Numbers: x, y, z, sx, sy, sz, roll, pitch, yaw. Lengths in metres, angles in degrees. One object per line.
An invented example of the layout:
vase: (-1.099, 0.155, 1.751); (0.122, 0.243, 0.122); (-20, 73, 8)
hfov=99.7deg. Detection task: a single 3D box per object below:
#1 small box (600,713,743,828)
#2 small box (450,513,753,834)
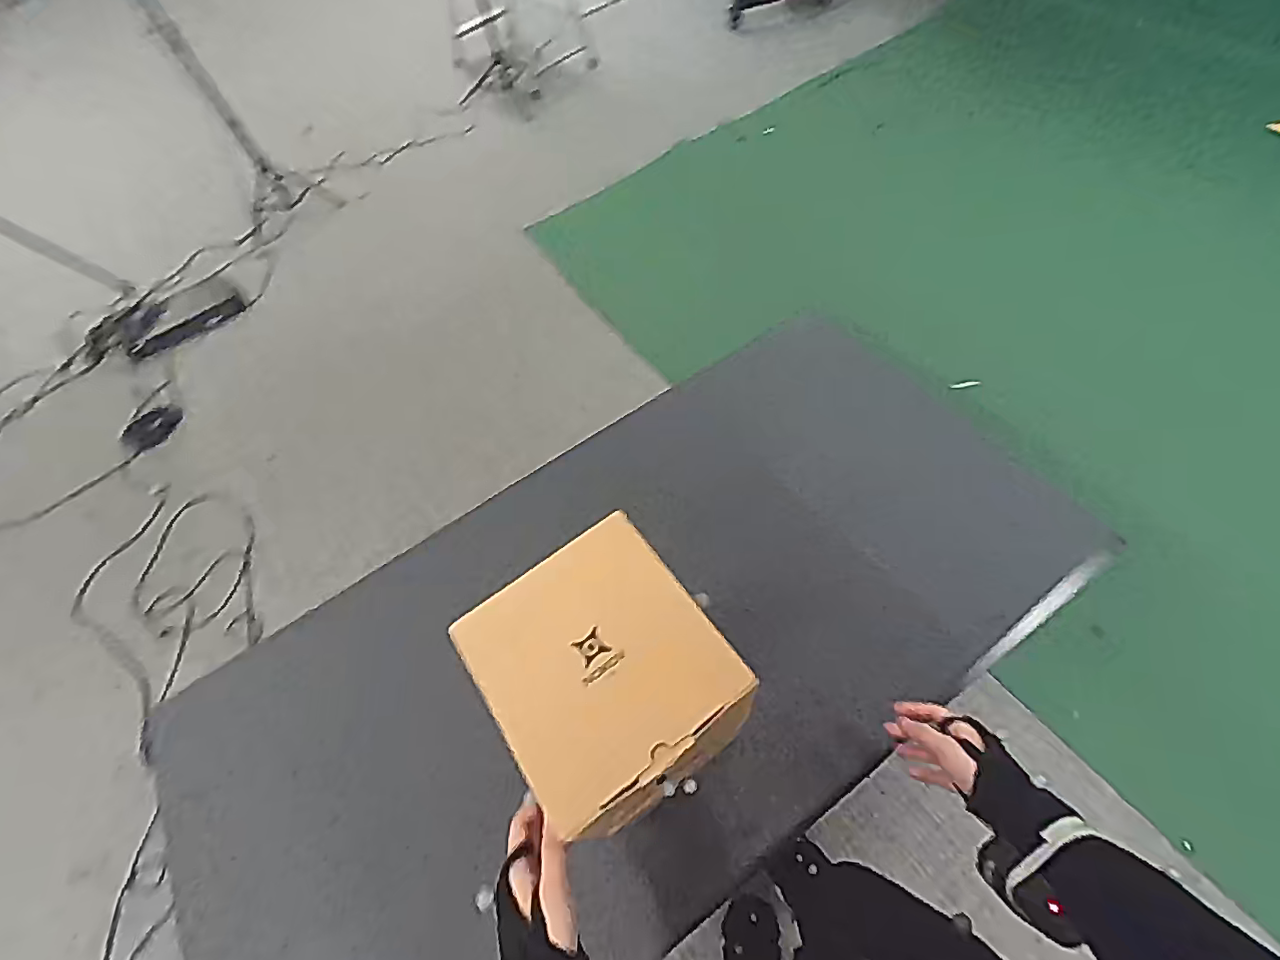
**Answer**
small box: (-0.006, 0.252, 0.601); (0.168, 0.176, 0.179); (-35, 60, -12)
small box: (-0.026, 0.167, 0.464); (0.168, 0.176, 0.179); (-35, 61, -13)
